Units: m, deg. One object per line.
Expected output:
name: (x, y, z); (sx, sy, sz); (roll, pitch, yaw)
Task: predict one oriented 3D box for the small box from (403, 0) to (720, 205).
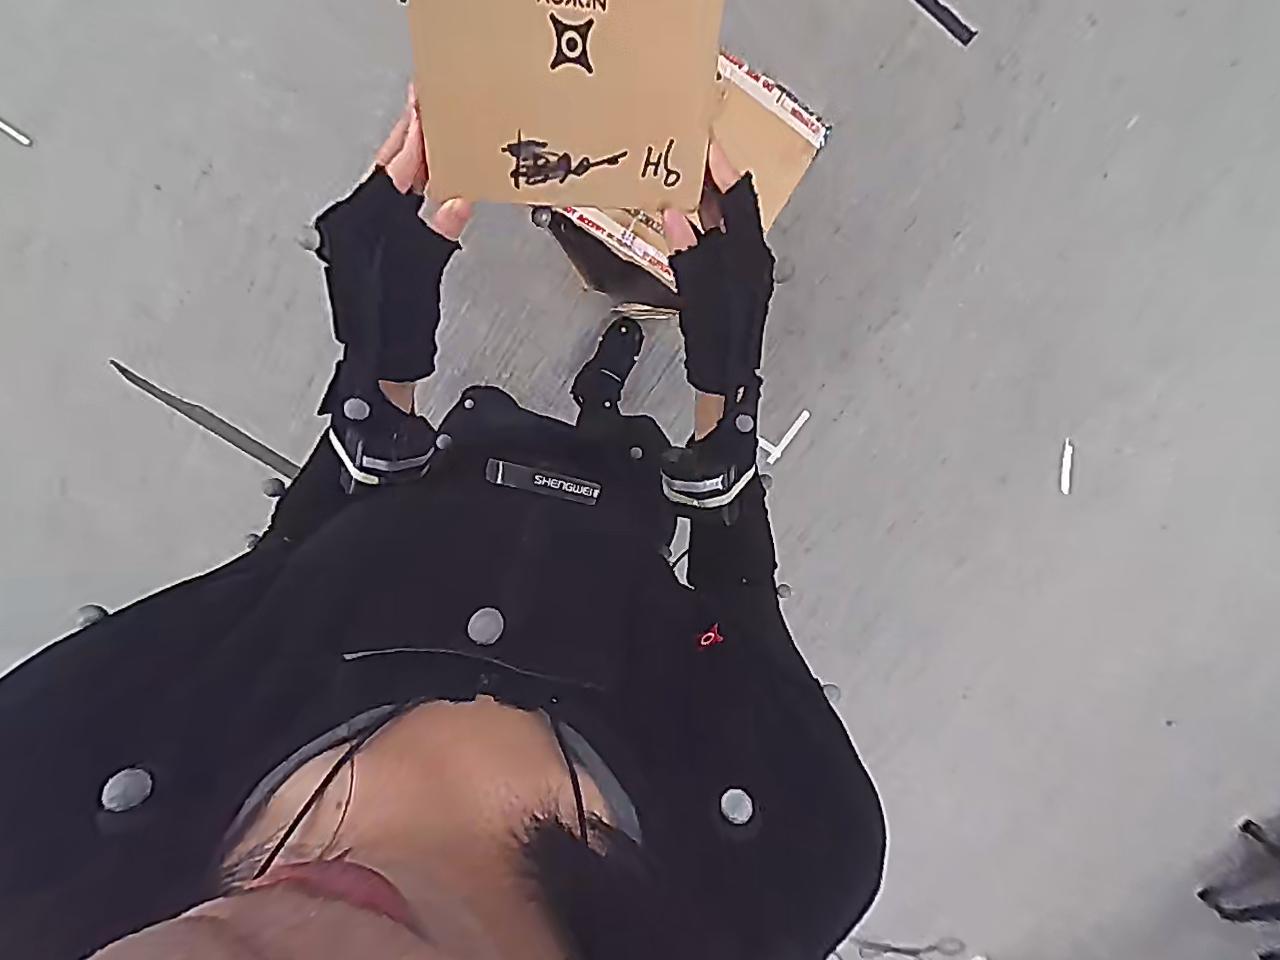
small box: (-0.057, -0.283, 0.341); (0.168, 0.176, 0.179); (-5, 124, -14)
